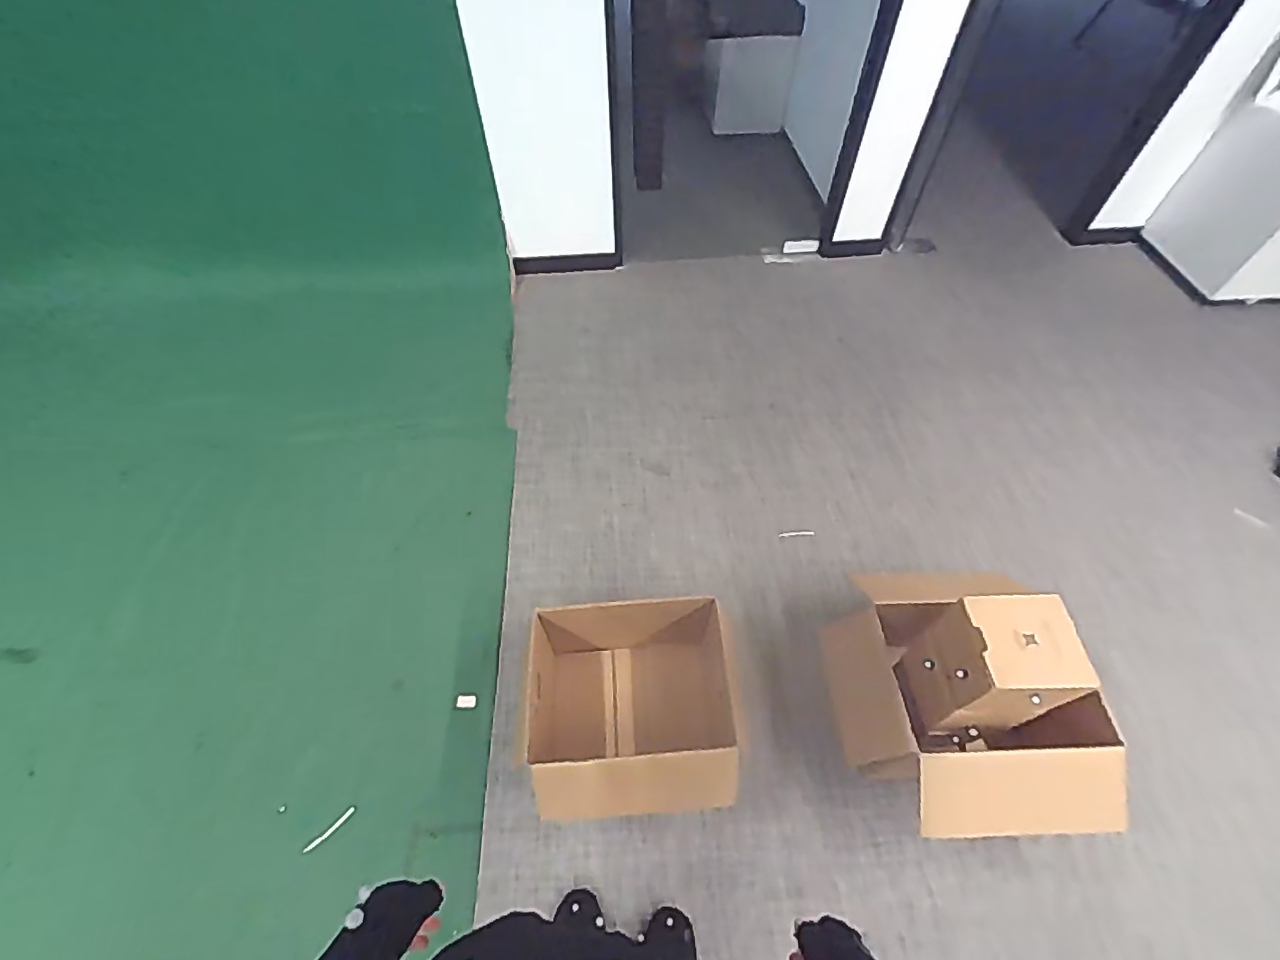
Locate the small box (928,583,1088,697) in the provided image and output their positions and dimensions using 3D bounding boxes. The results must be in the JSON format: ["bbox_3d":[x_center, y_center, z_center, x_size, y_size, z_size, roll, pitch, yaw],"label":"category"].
[{"bbox_3d":[0.675,0.308,1.025,0.179,0.176,0.168,-3,56,1],"label":"small box"}]
